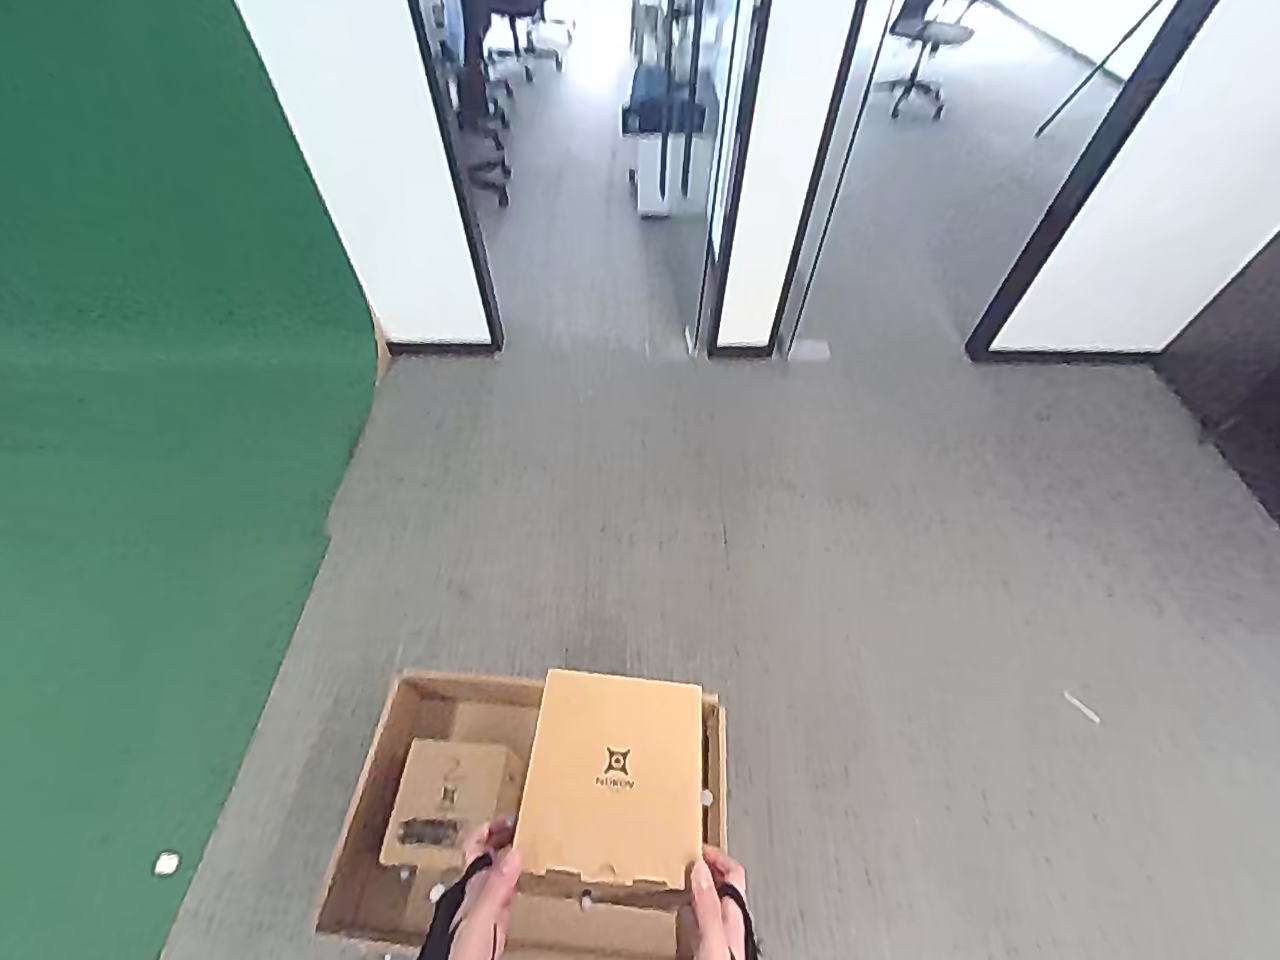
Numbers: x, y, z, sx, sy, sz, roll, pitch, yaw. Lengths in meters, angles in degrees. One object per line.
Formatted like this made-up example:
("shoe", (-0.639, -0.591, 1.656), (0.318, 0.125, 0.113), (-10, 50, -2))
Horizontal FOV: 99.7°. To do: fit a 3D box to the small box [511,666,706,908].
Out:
("small box", (-0.029, 0.317, 0.557), (0.168, 0.176, 0.179), (7, 48, -2))
